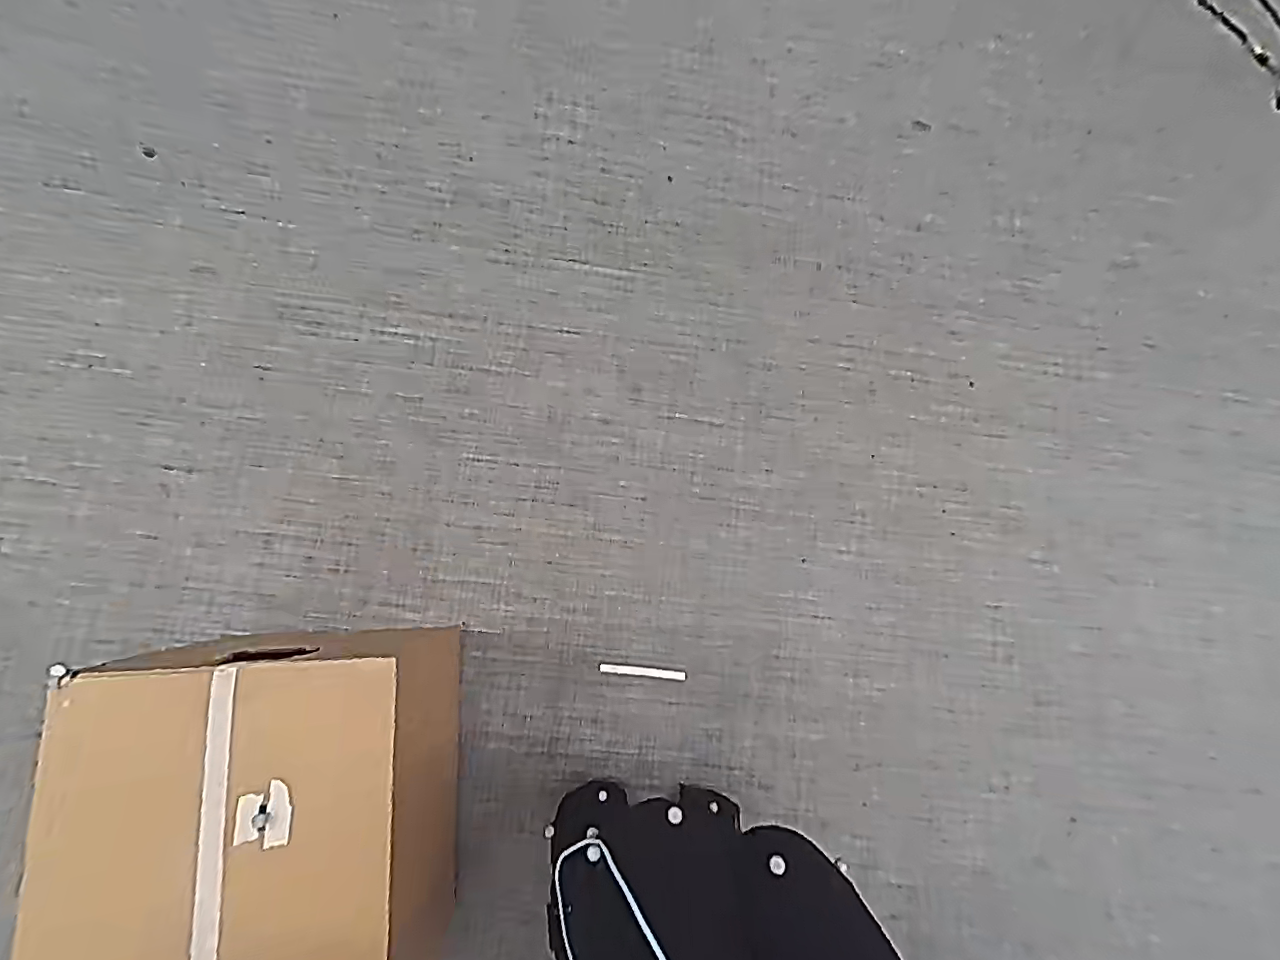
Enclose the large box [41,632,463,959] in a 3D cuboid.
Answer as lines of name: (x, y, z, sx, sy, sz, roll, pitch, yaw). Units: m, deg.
large box: (-0.404, 0.410, 0.653, 0.320, 0.320, 0.408, -1, 79, -8)
